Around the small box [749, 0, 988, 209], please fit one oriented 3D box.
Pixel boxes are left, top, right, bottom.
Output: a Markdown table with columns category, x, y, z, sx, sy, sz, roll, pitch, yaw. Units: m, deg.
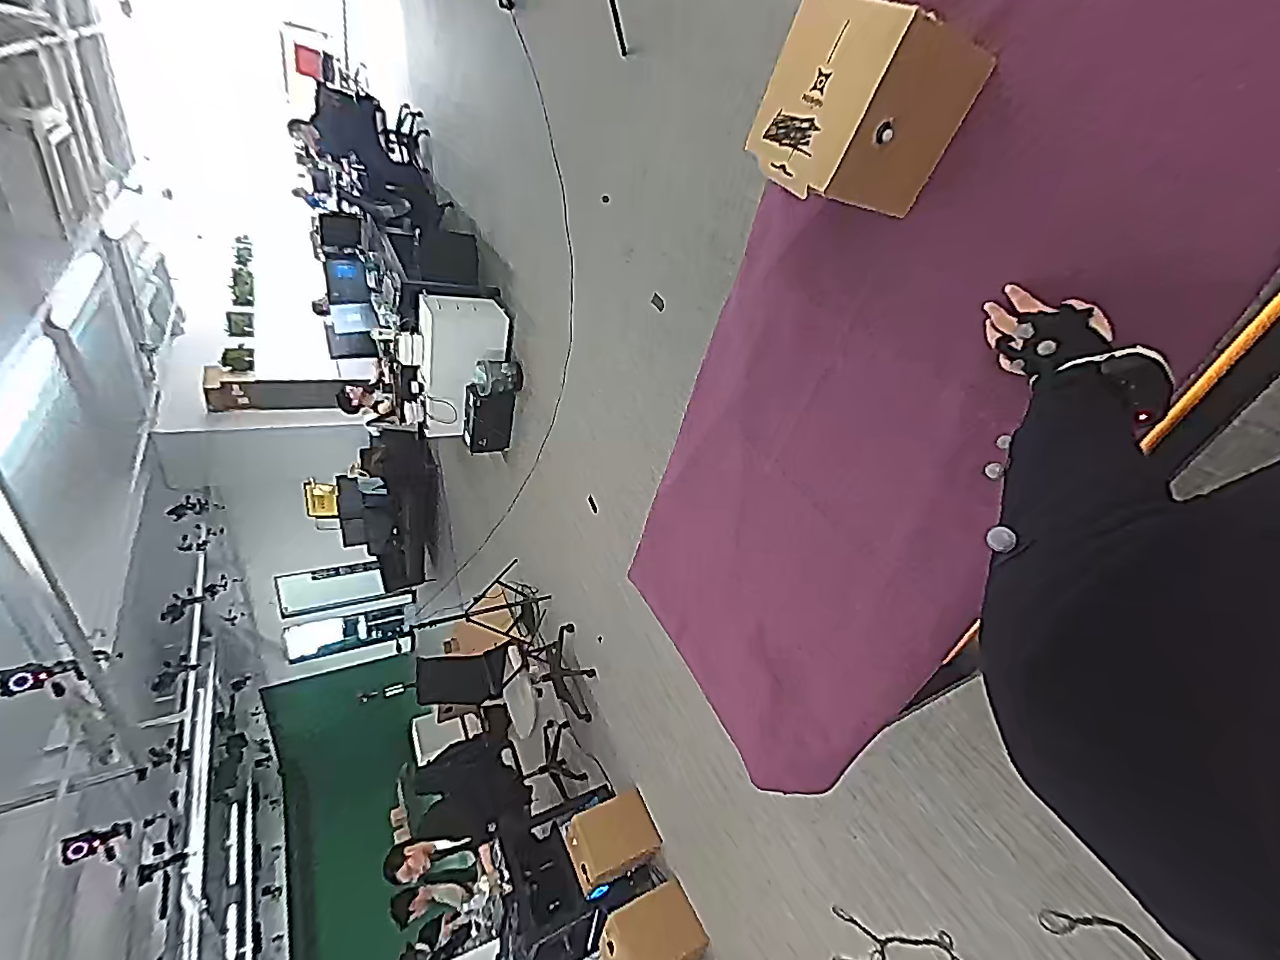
| category | x | y | z | sx | sy | sz | roll | pitch | yaw |
| --- | --- | --- | --- | --- | --- | --- | --- | --- | --- |
| small box | 0.274 | -0.458 | 0.663 | 0.168 | 0.176 | 0.179 | 56 | 139 | 35 |
